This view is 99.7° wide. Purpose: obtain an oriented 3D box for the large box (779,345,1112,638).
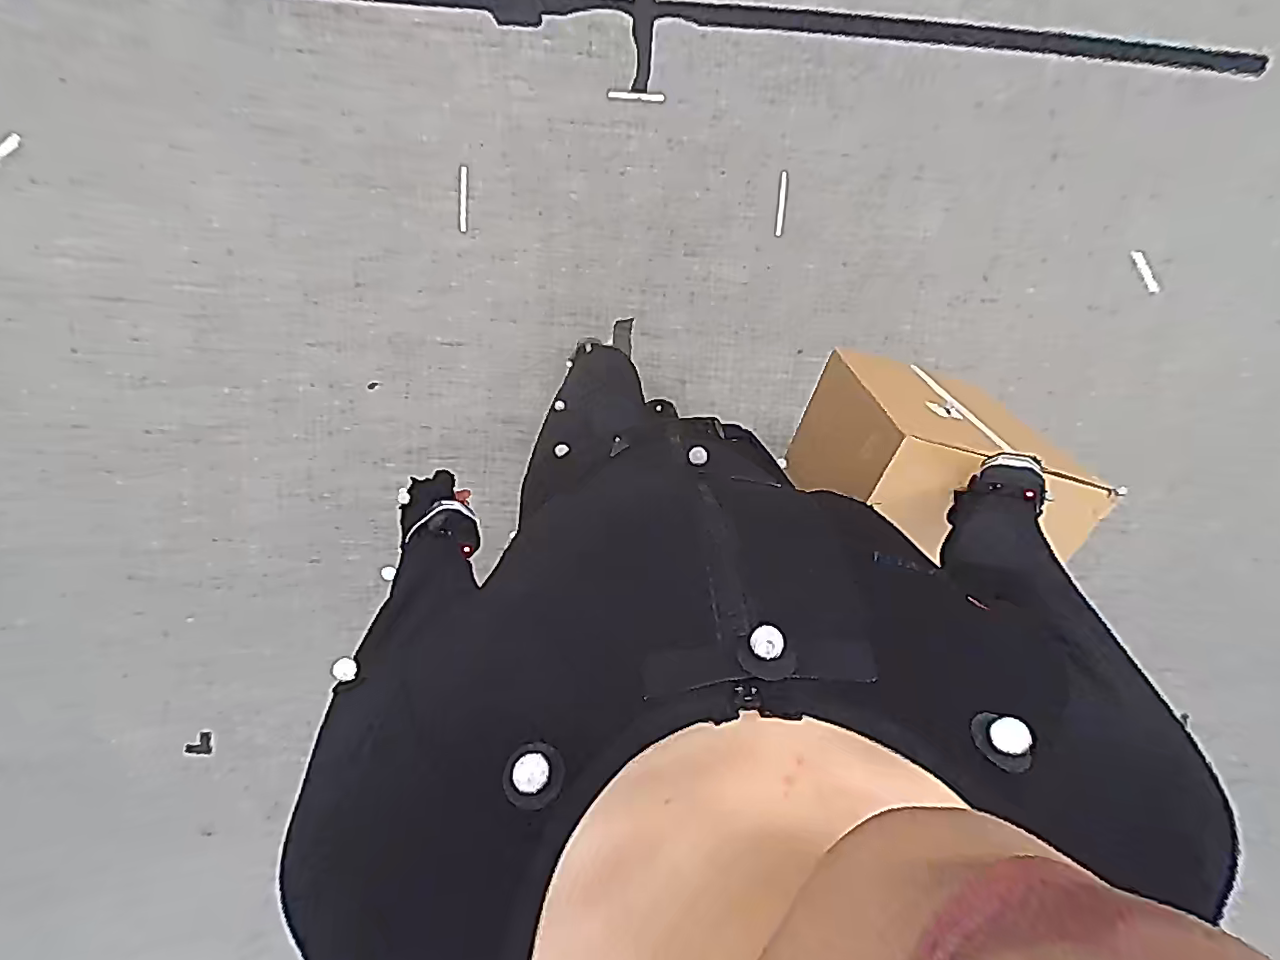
[{"bbox_3d":[0.477,0.002,0.972,0.320,0.408,0.320,14,122,-3],"label":"large box"}]
